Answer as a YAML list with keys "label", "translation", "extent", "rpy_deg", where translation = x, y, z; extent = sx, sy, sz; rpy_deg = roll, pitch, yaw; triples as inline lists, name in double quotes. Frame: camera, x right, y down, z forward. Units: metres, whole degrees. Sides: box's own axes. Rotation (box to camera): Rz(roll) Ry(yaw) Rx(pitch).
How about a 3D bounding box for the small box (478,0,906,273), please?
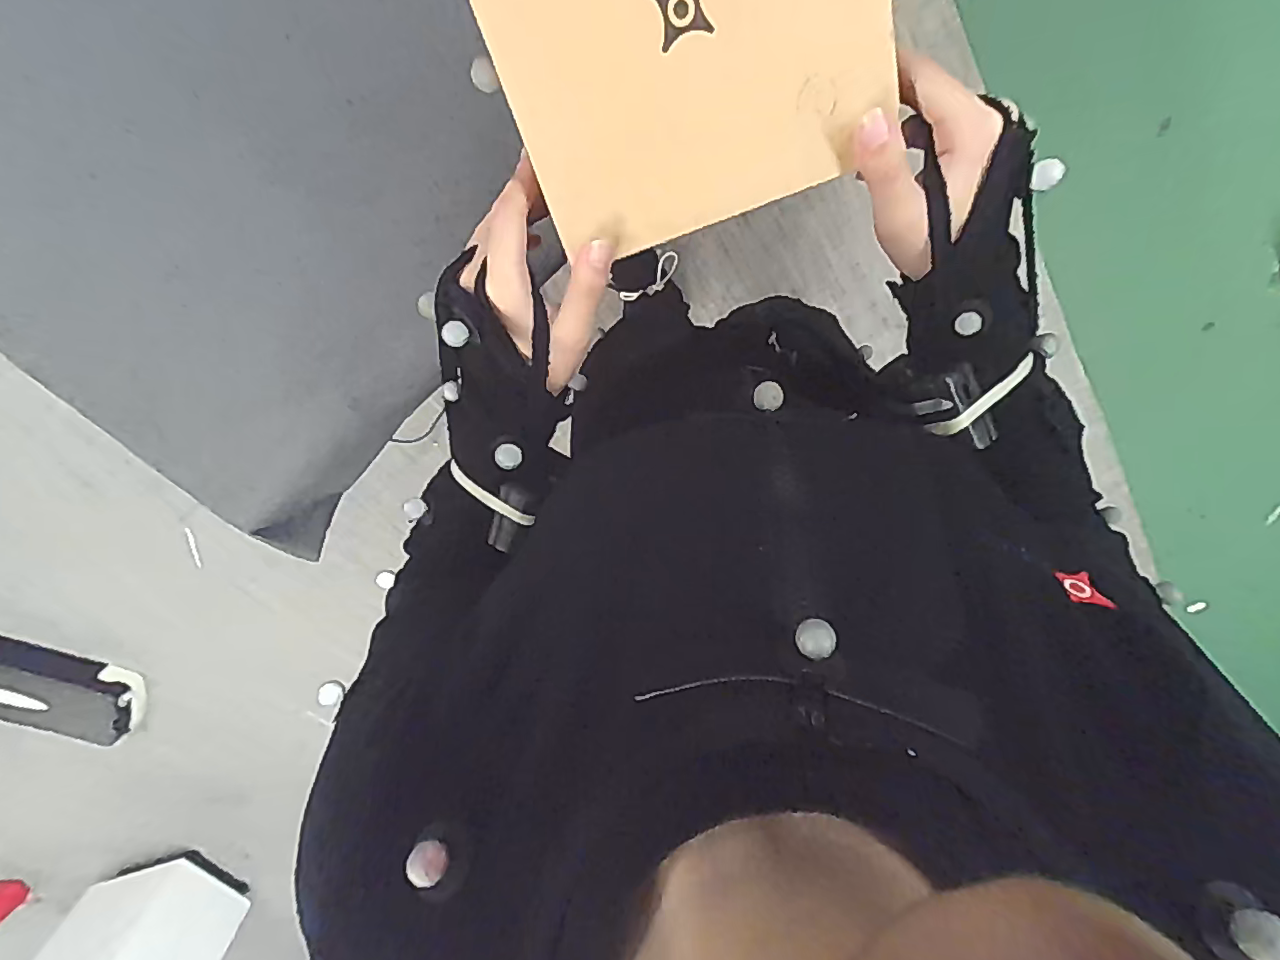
- label: "small box"
  translation: [0.019, -0.237, 0.287]
  extent: [0.168, 0.176, 0.179]
  rpy_deg: [-17, 120, 9]
